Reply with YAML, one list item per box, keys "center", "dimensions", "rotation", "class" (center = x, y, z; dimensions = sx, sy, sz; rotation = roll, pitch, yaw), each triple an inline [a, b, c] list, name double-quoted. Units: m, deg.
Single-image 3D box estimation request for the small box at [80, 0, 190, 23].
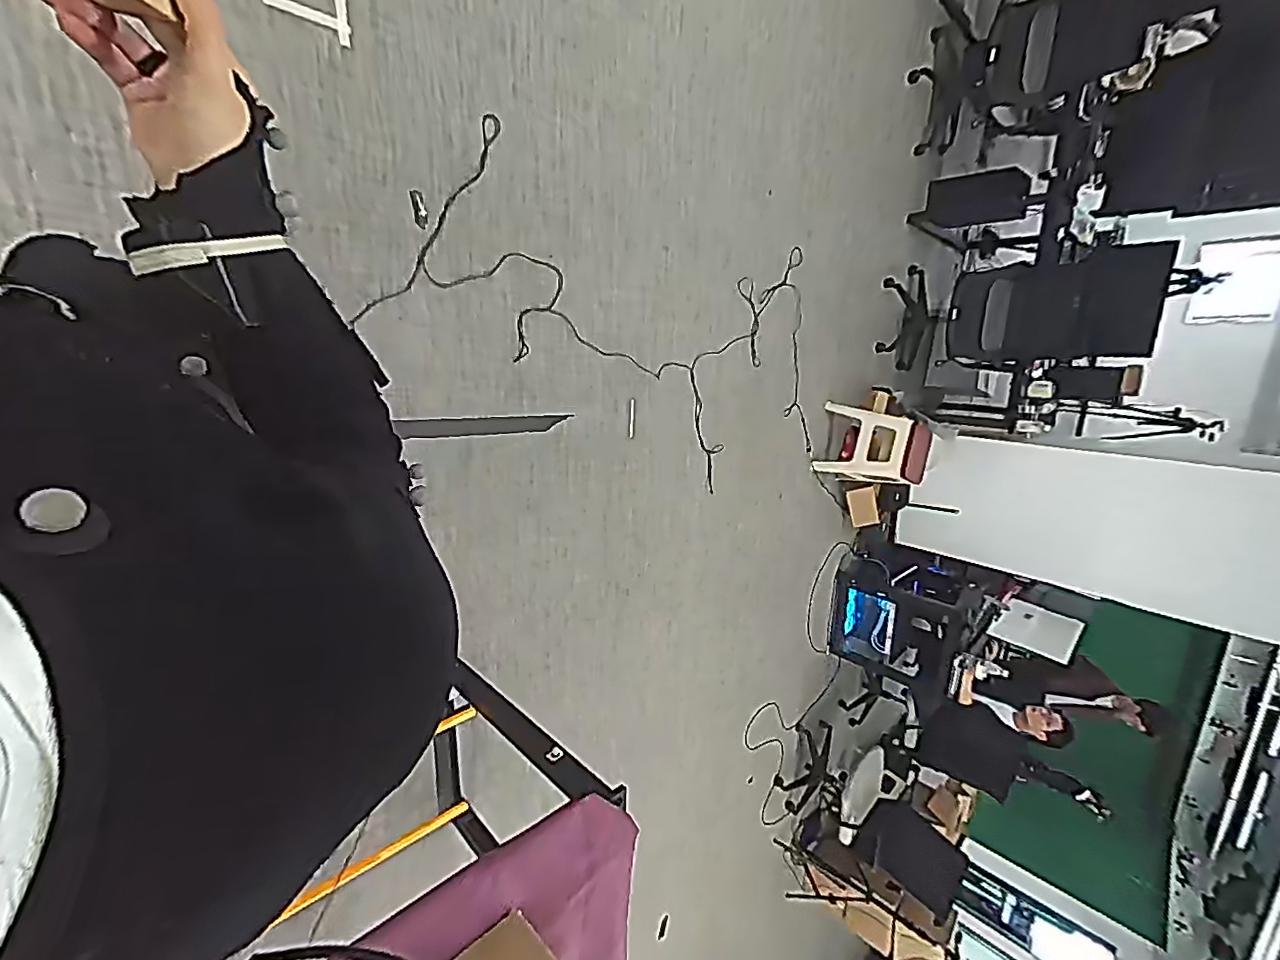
- center: [-0.316, -0.327, 0.206]
  dimensions: [0.179, 0.176, 0.168]
  rotation: [-72, 178, -74]
  class: "small box"
